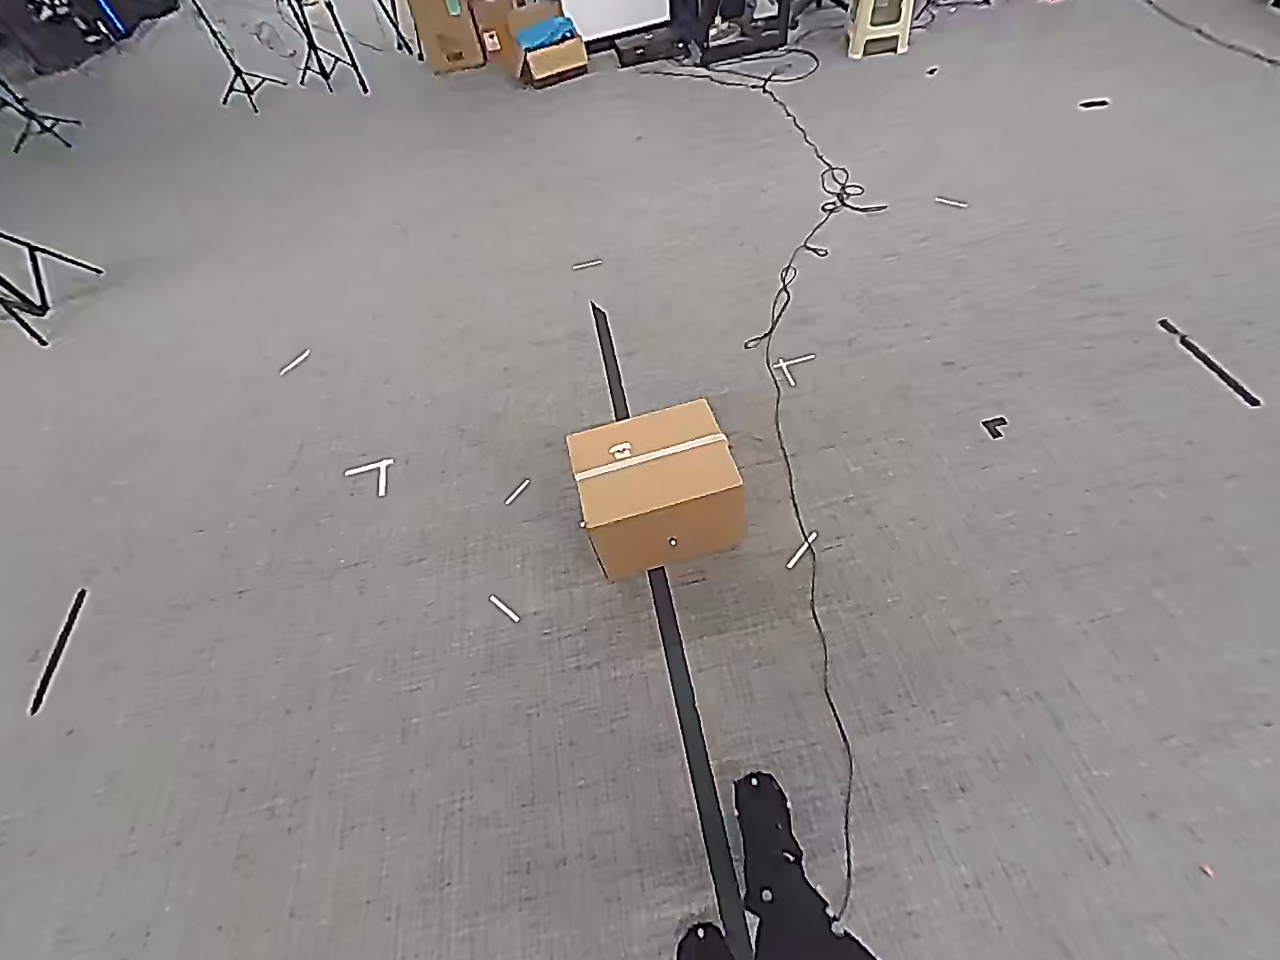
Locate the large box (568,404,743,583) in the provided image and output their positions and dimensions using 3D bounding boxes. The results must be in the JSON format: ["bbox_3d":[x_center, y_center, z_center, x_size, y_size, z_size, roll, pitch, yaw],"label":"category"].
[{"bbox_3d":[0.049,0.045,1.524,0.408,0.320,0.320,-16,53,-1],"label":"large box"}]
